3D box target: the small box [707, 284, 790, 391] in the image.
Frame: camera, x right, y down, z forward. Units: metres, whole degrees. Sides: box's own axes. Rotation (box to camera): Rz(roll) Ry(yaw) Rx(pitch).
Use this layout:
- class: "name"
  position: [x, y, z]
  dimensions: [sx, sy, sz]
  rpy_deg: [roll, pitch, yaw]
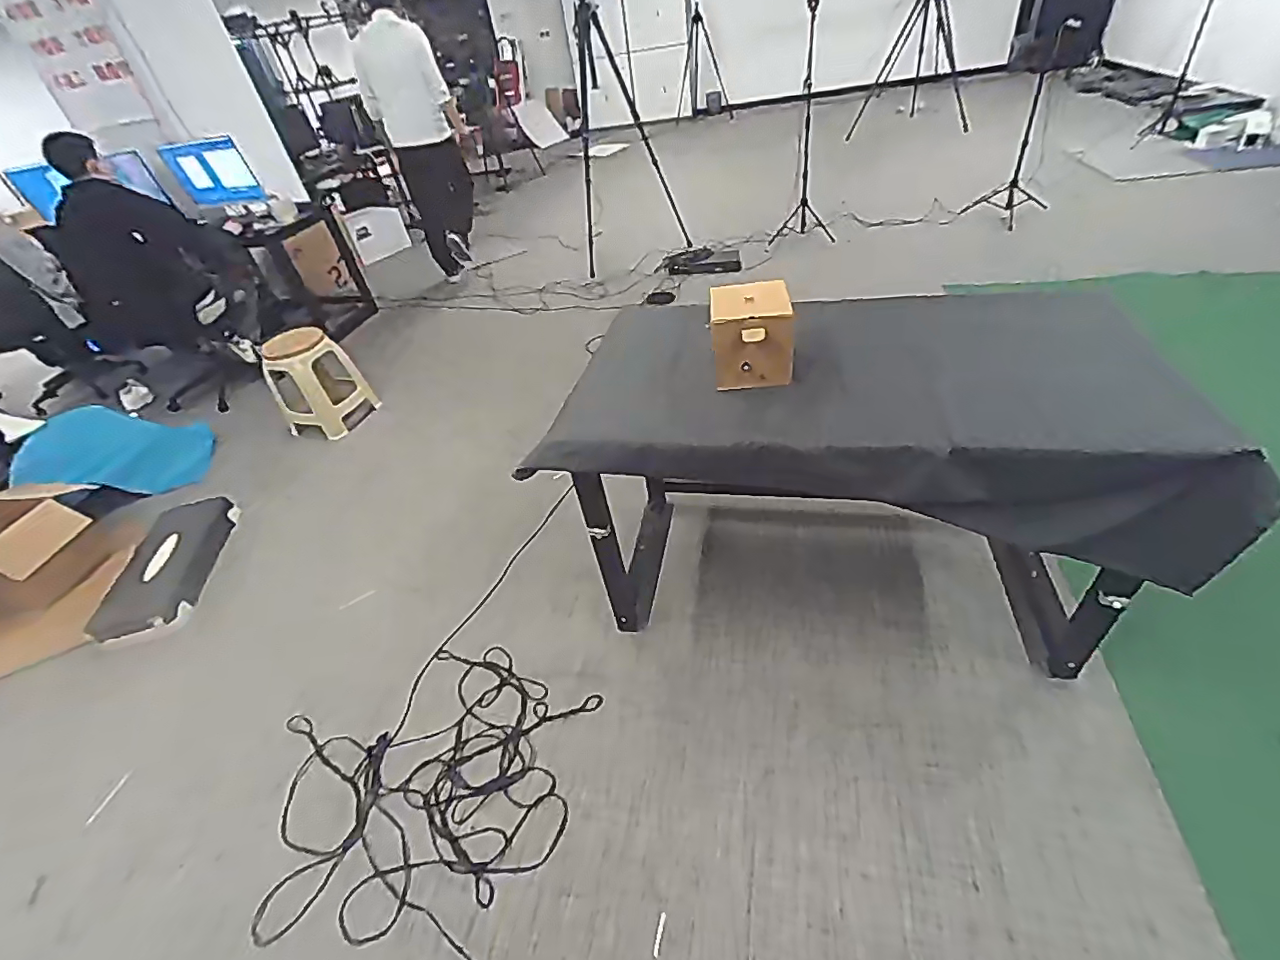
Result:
- class: "small box"
  position: [0.234, -0.316, 1.200]
  dimensions: [0.168, 0.176, 0.179]
  rpy_deg: [-3, 41, 8]
